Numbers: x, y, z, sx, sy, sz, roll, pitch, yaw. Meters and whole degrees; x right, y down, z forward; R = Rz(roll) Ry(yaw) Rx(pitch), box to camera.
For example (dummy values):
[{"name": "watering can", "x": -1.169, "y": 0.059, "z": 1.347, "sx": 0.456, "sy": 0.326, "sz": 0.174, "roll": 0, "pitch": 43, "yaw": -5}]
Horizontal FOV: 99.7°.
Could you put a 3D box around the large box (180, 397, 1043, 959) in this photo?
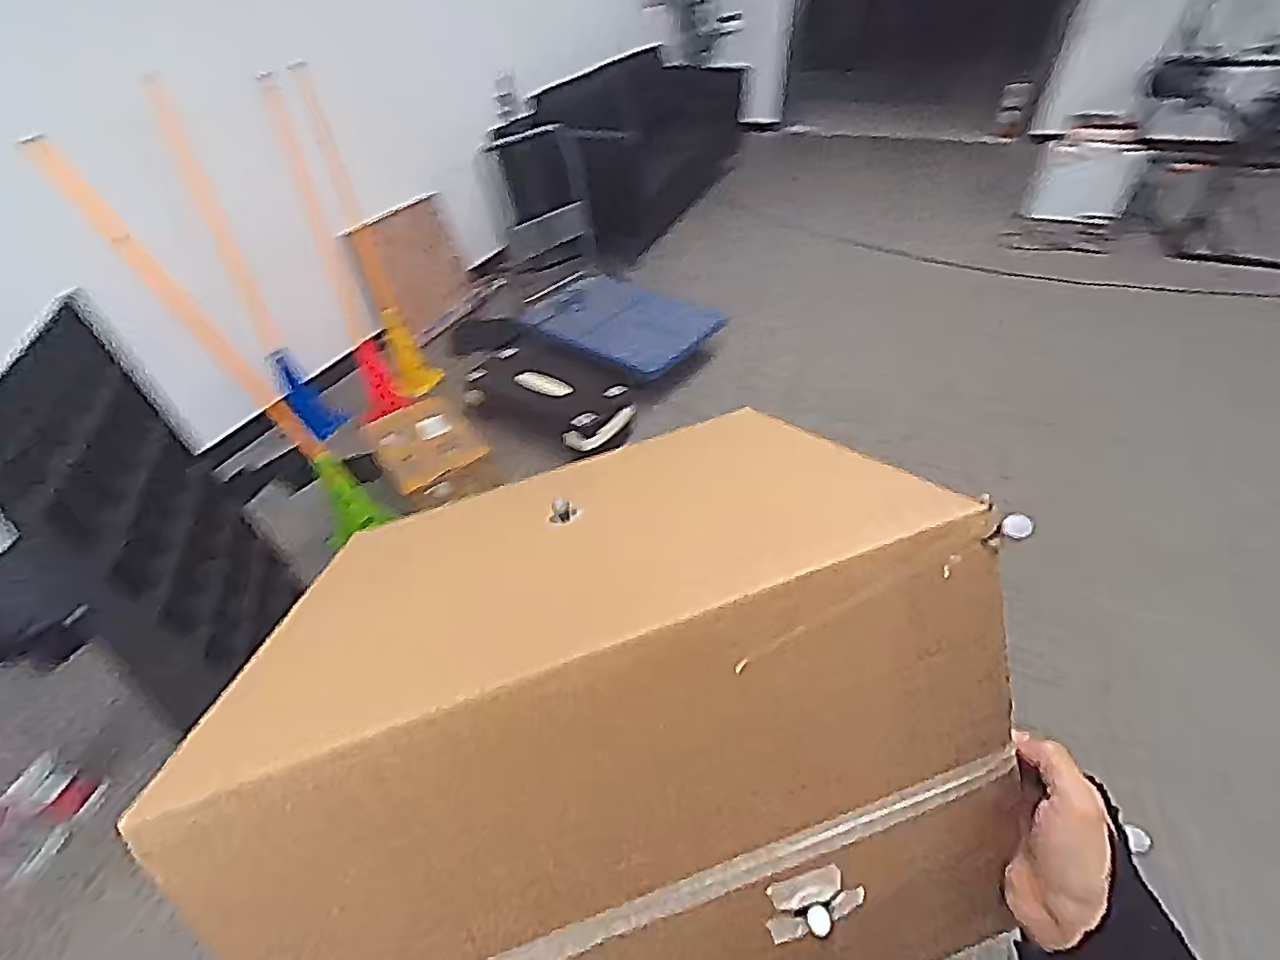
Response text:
[{"name": "large box", "x": 0.005, "y": 0.154, "z": 0.429, "sx": 0.408, "sy": 0.320, "sz": 0.320, "roll": -19, "pitch": 19, "yaw": -5}]
